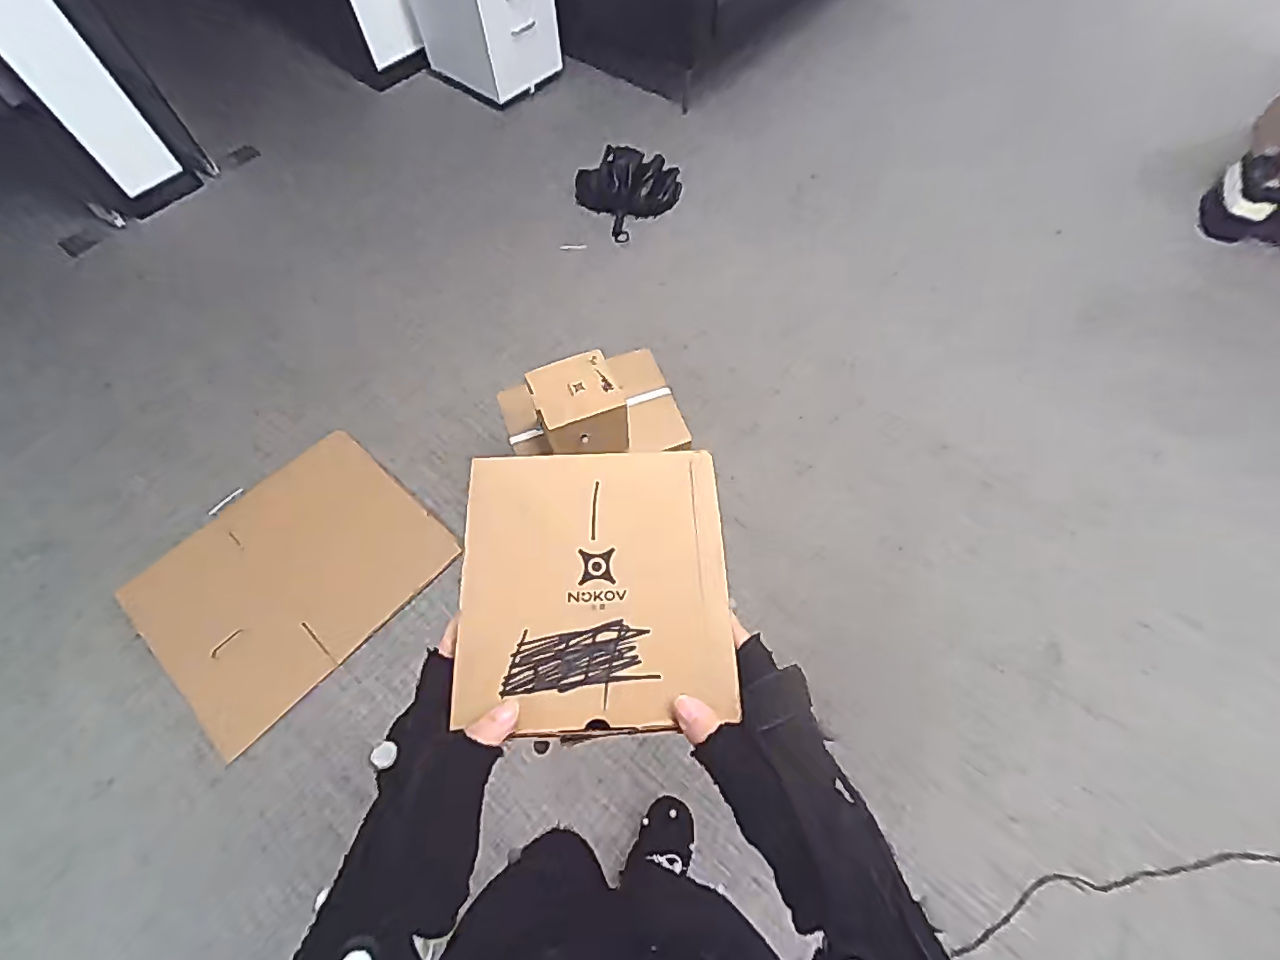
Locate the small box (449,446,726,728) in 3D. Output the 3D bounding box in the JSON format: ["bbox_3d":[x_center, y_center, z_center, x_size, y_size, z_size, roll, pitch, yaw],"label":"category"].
[{"bbox_3d":[-0.033,0.091,0.418,0.168,0.176,0.179,-3,65,-2],"label":"small box"}]

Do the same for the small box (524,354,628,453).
[{"bbox_3d":[-0.137,-0.145,1.215,0.179,0.176,0.168,-23,62,-12],"label":"small box"}]
